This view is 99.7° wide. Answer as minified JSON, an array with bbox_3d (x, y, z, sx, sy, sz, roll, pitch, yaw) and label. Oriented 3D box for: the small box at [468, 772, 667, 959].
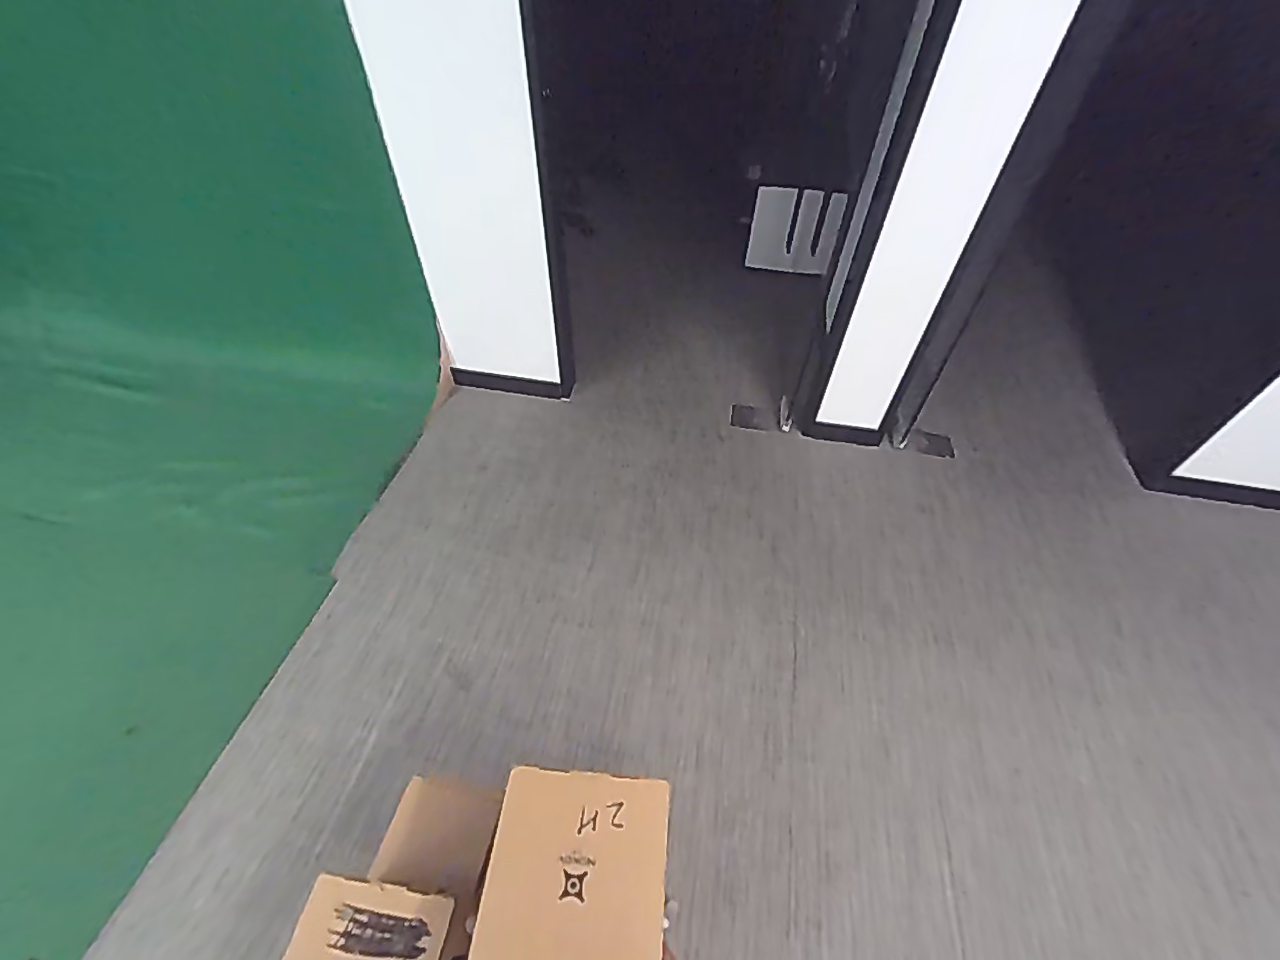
[{"bbox_3d":[-0.062,0.431,0.562,0.168,0.176,0.179,5,47,3],"label":"small box"}]
